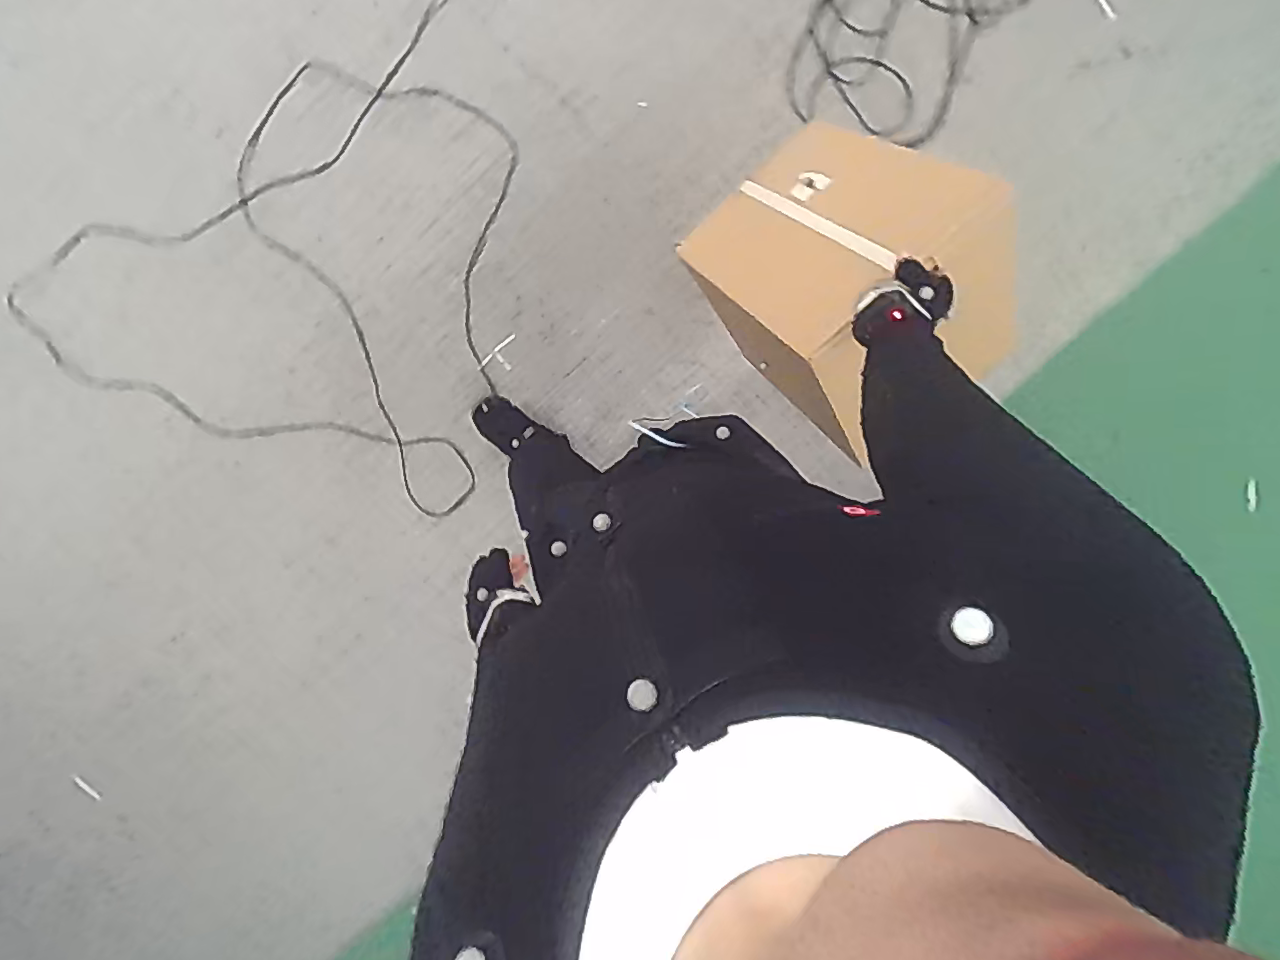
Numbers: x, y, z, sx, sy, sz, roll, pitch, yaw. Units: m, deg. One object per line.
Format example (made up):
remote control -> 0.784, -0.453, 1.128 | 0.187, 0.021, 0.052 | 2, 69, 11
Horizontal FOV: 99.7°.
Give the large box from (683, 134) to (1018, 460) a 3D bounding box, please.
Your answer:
large box -> 0.347, -0.311, 0.927 | 0.320, 0.408, 0.320 | -39, 136, 9
